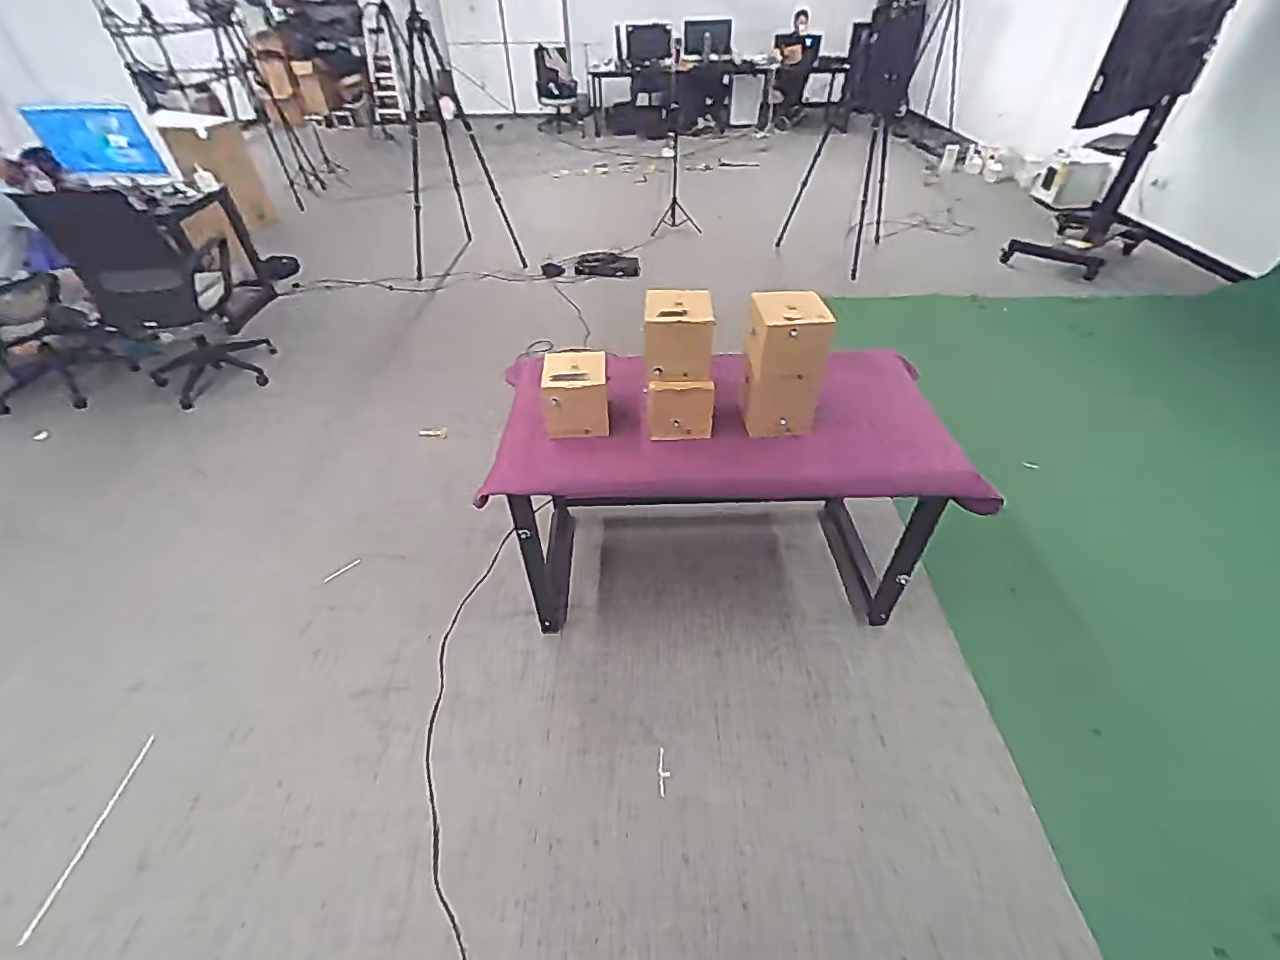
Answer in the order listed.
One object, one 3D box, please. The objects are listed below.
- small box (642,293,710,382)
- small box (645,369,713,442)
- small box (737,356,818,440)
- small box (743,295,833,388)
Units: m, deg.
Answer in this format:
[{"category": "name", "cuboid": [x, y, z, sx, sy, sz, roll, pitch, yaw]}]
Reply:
[{"category": "small box", "cuboid": [0.091, -0.363, 1.387, 0.168, 0.176, 0.179, 1, 42, 2]}, {"category": "small box", "cuboid": [0.100, -0.221, 1.475, 0.168, 0.176, 0.179, -2, 43, -1]}, {"category": "small box", "cuboid": [0.365, -0.228, 1.474, 0.168, 0.176, 0.179, -3, 43, -2]}, {"category": "small box", "cuboid": [0.364, -0.350, 1.365, 0.168, 0.176, 0.179, -4, 42, -2]}]
